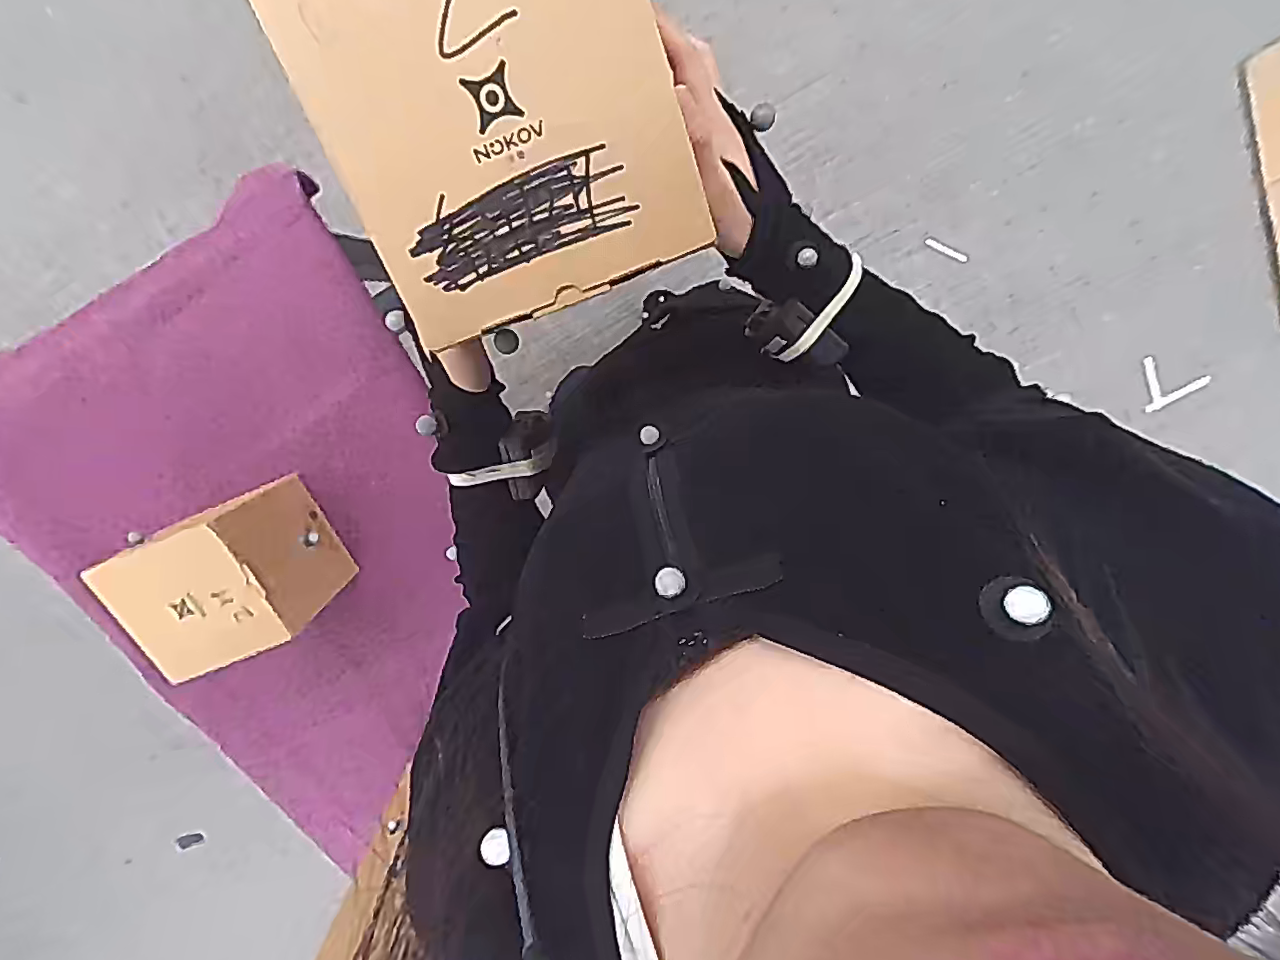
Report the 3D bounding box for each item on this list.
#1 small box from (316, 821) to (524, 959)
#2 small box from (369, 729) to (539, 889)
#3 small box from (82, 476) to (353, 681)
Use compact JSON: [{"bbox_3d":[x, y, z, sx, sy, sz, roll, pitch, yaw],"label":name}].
[{"bbox_3d":[-0.273,0.586,0.691,0.179,0.176,0.168,-26,108,8],"label":"small box"},{"bbox_3d":[-0.271,0.529,0.845,0.179,0.176,0.168,-26,108,7],"label":"small box"},{"bbox_3d":[-0.518,0.117,0.695,0.179,0.176,0.168,-21,109,6],"label":"small box"}]
